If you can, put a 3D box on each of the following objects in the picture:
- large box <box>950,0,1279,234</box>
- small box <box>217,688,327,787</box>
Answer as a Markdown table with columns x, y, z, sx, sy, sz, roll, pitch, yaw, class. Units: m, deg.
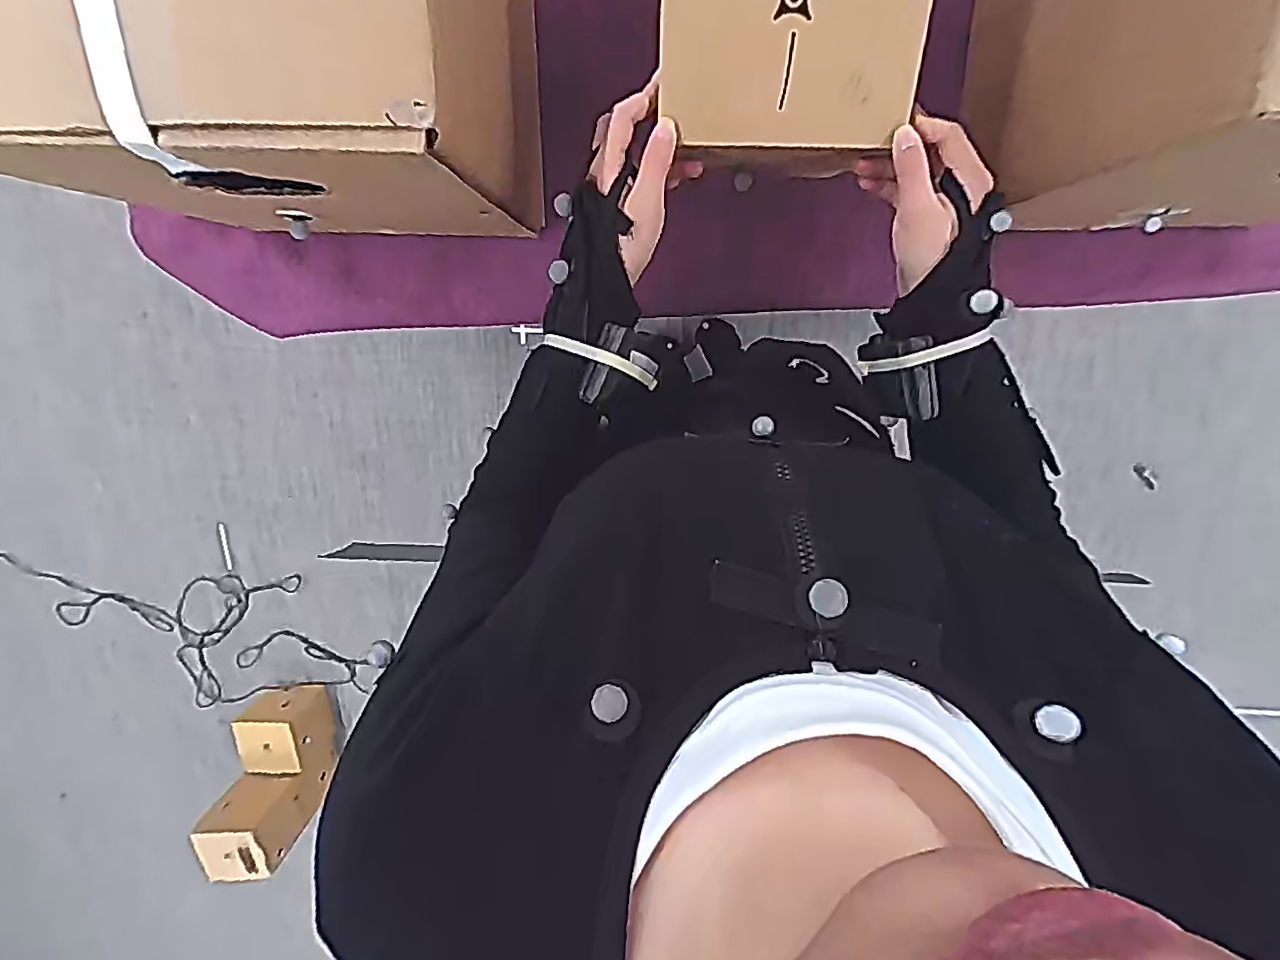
| x | y | z | sx | sy | sz | roll | pitch | yaw | class |
| --- | --- | --- | --- | --- | --- | --- | --- | --- | --- |
| 0.446 | -0.403 | 0.345 | 0.320 | 0.320 | 0.408 | 0 | 105 | 2 | large box |
| -1.022 | 0.720 | 1.510 | 0.179 | 0.176 | 0.168 | 24 | 92 | -14 | small box |
